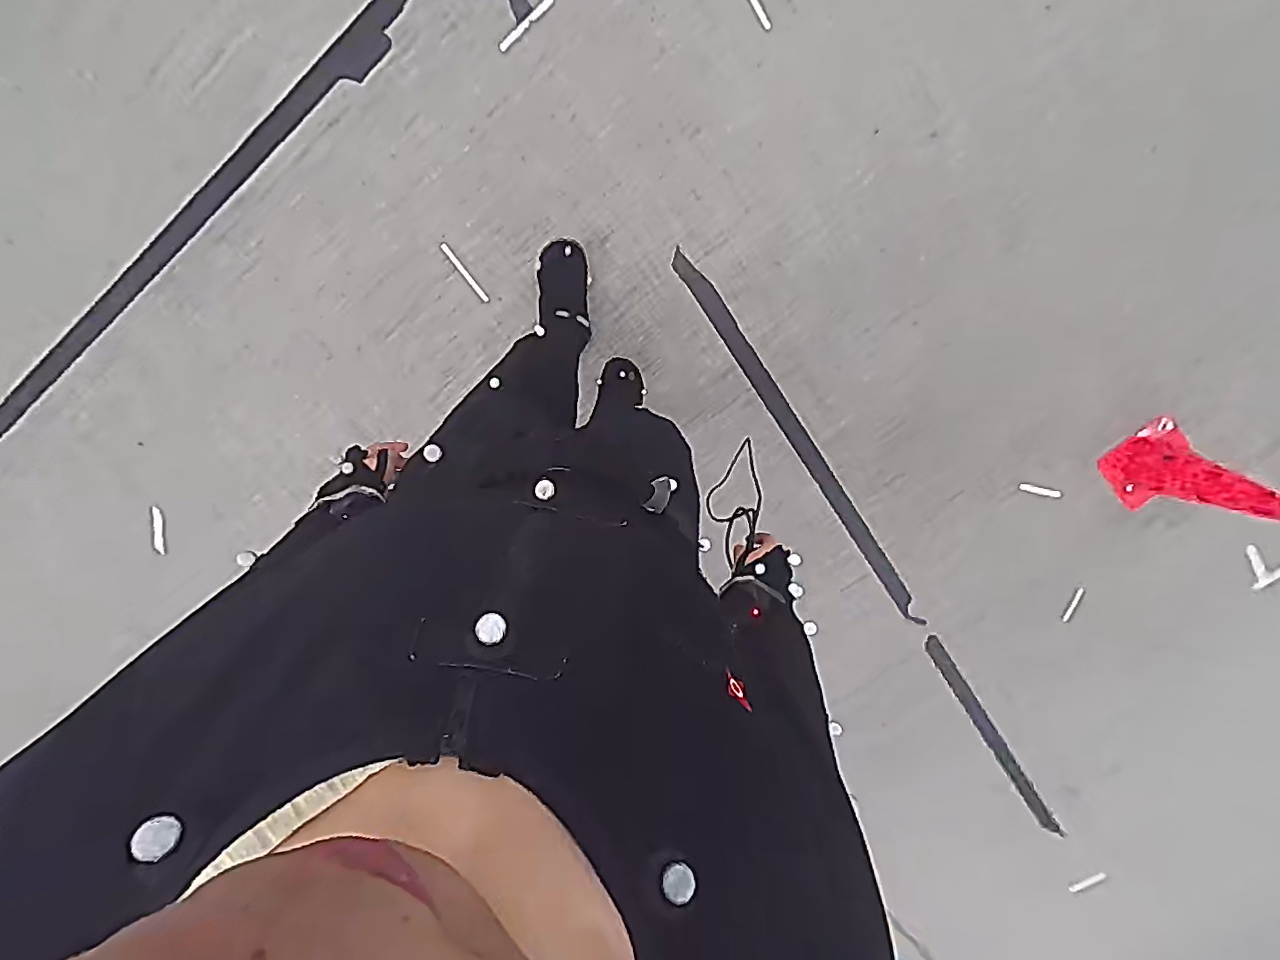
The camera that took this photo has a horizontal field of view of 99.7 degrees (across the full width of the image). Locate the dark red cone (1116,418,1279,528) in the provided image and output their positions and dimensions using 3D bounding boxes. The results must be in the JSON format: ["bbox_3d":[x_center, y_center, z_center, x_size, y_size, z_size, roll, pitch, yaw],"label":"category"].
[{"bbox_3d":[1.323,0.026,1.209,0.201,0.394,0.202,-42,105,14],"label":"dark red cone"}]
